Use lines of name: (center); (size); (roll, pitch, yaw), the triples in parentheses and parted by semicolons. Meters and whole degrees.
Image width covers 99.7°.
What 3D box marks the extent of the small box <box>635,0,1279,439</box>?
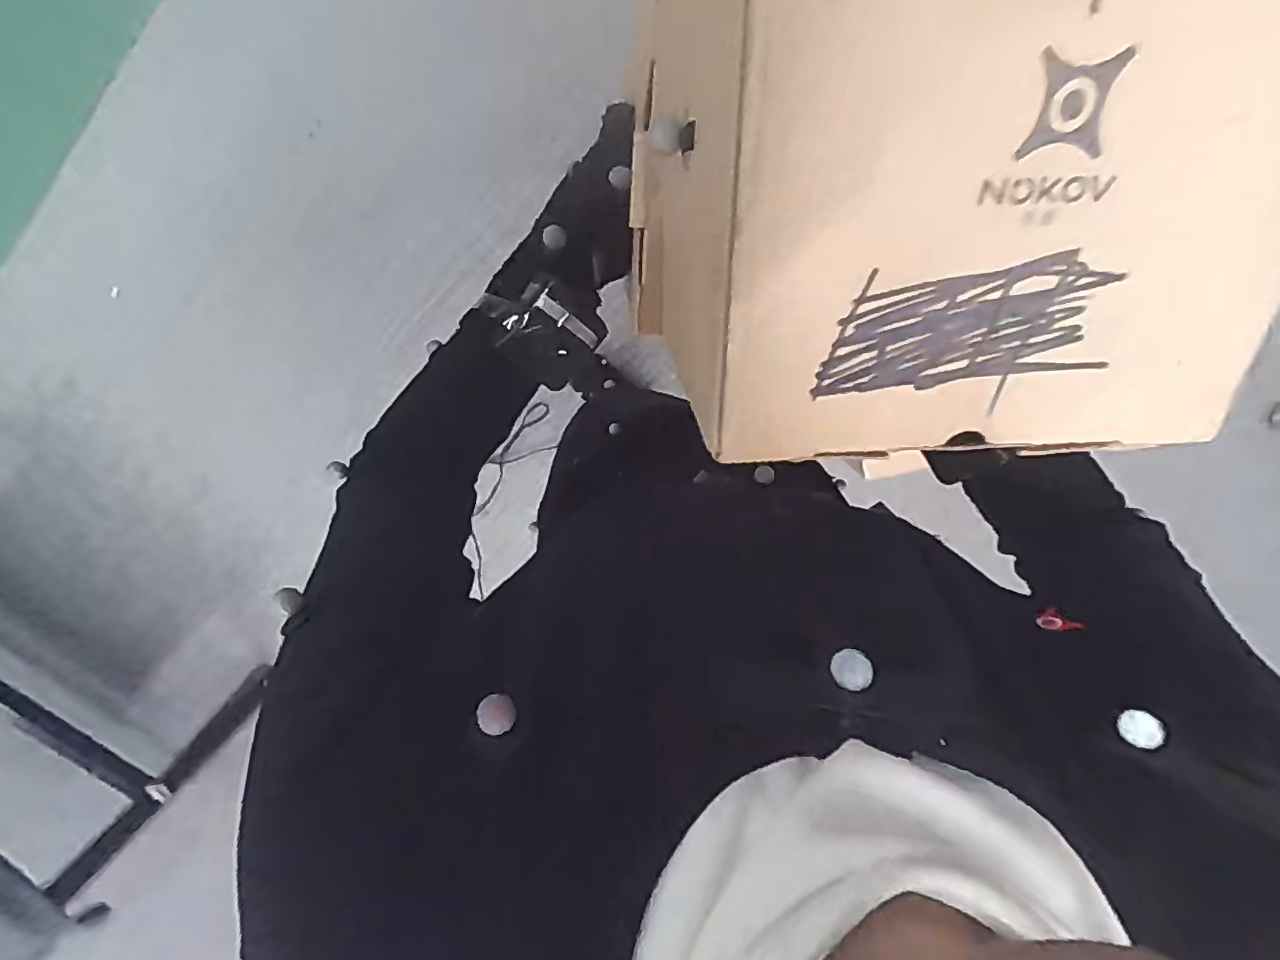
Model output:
small box: (0.085, -0.129, 0.206); (0.168, 0.176, 0.179); (-3, 117, -2)
